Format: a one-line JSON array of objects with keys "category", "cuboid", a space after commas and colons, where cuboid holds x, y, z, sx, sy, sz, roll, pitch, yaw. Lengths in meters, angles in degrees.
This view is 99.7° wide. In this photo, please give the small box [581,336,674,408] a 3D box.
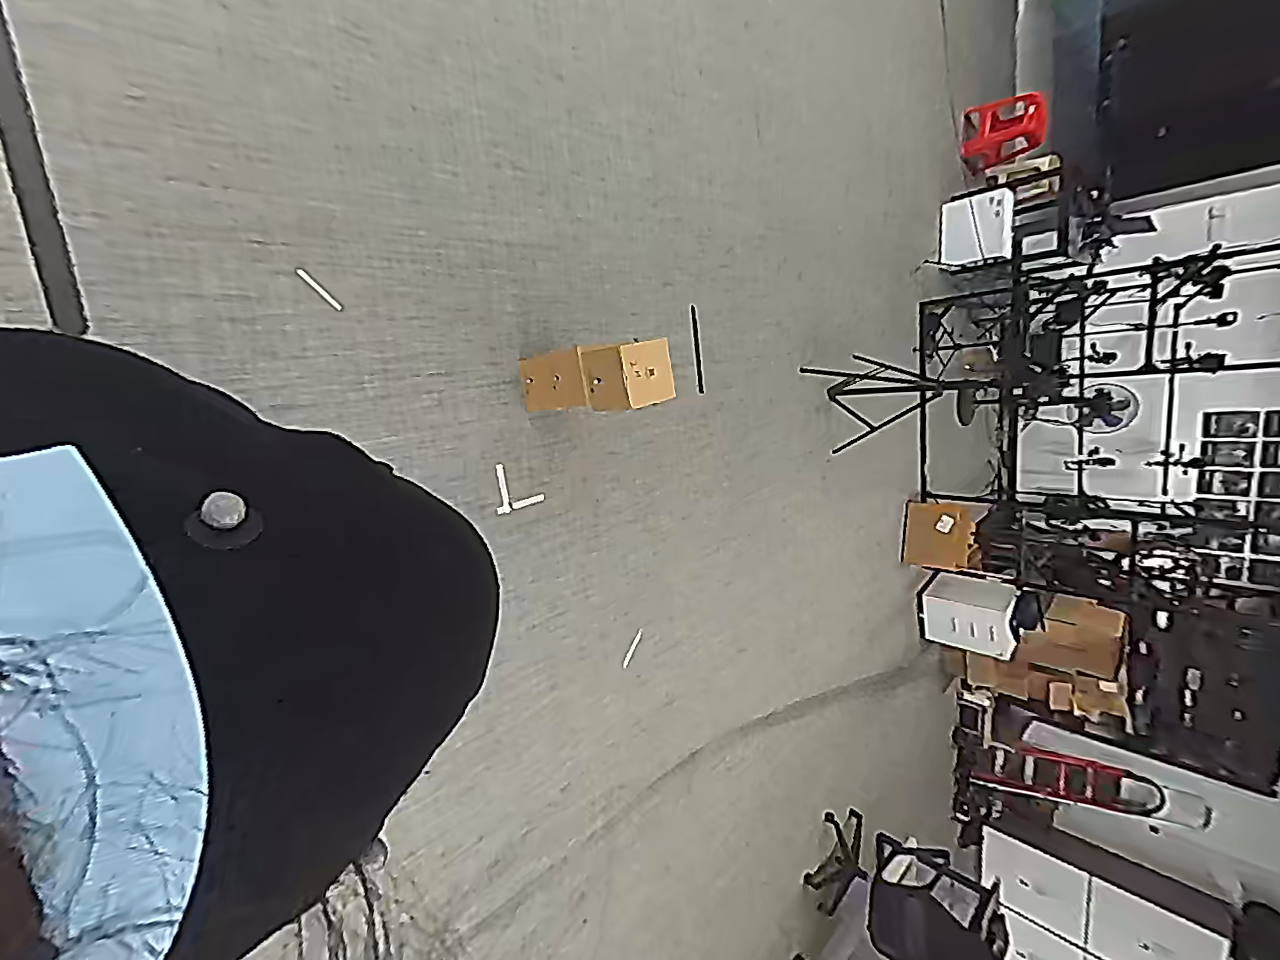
[{"category": "small box", "cuboid": [-0.035, -0.296, 1.488, 0.179, 0.176, 0.168, -22, 108, -39]}]

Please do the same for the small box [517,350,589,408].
[{"category": "small box", "cuboid": [-0.266, -0.322, 1.721, 0.179, 0.176, 0.168, -18, 106, -41]}]
